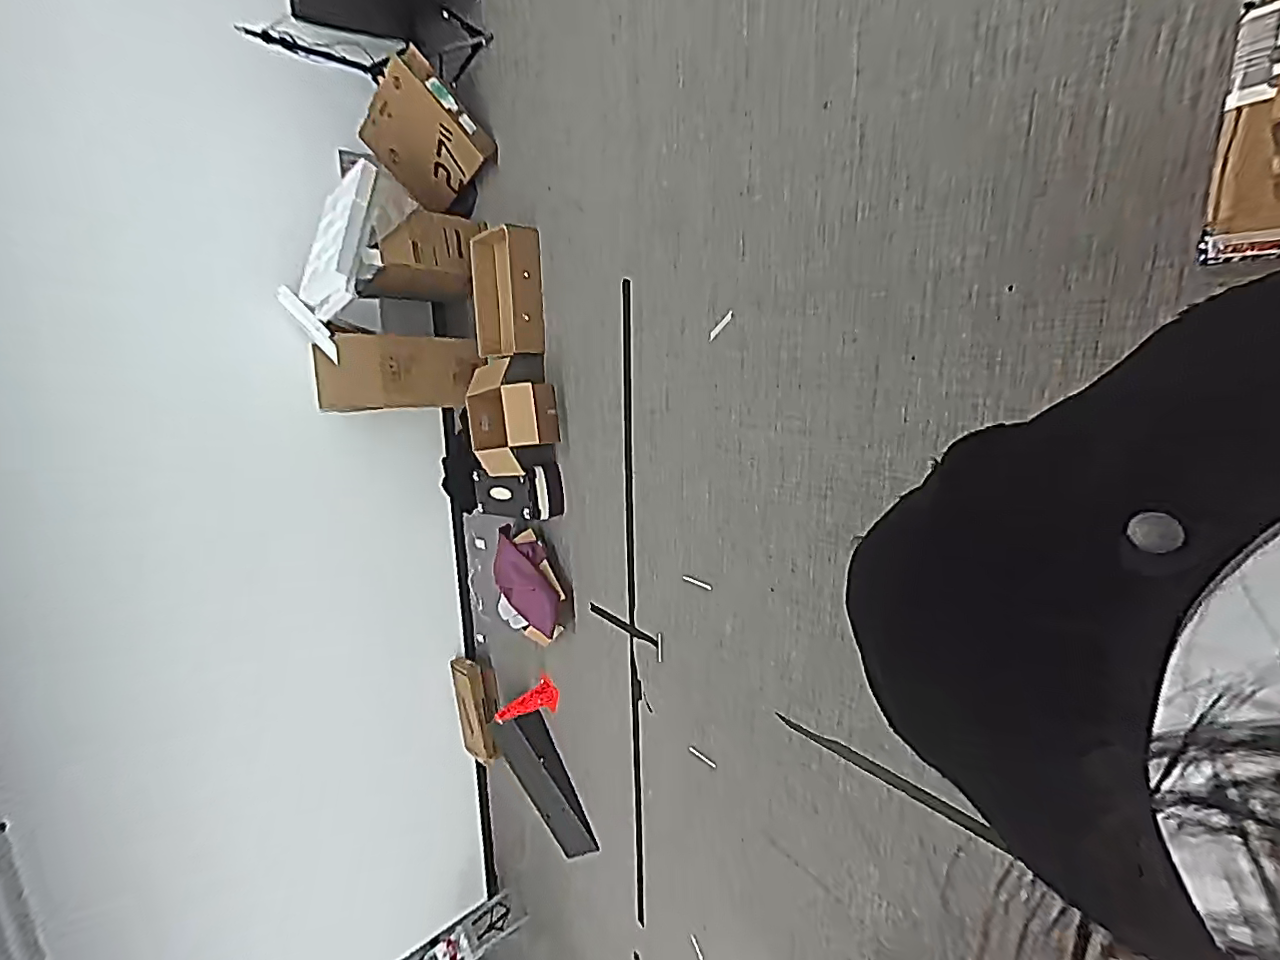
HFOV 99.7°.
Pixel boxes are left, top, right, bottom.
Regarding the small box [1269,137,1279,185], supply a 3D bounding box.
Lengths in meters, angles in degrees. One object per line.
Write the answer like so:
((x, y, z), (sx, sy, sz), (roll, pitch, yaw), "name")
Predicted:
((0.750, -0.400, 0.522), (0.168, 0.176, 0.179), (11, 111, 49), "small box")

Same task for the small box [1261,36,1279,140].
((0.626, -0.380, 0.415), (0.168, 0.176, 0.179), (14, 113, 48), "small box")
